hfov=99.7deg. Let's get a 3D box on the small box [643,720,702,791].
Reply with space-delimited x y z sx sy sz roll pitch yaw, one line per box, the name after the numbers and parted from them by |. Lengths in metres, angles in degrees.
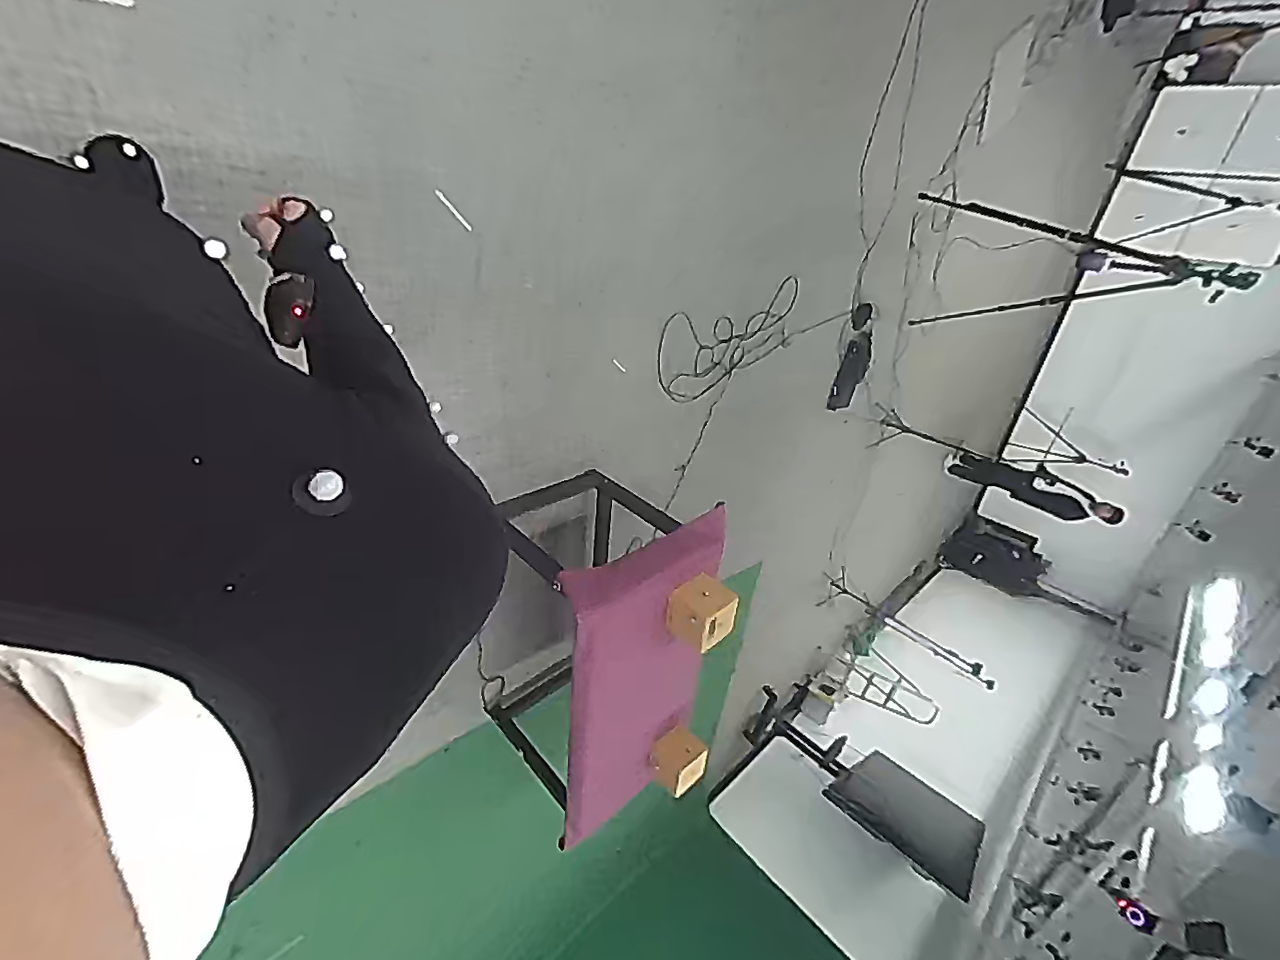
0.139 1.170 2.315 0.179 0.176 0.168 -18 125 -41 | small box
